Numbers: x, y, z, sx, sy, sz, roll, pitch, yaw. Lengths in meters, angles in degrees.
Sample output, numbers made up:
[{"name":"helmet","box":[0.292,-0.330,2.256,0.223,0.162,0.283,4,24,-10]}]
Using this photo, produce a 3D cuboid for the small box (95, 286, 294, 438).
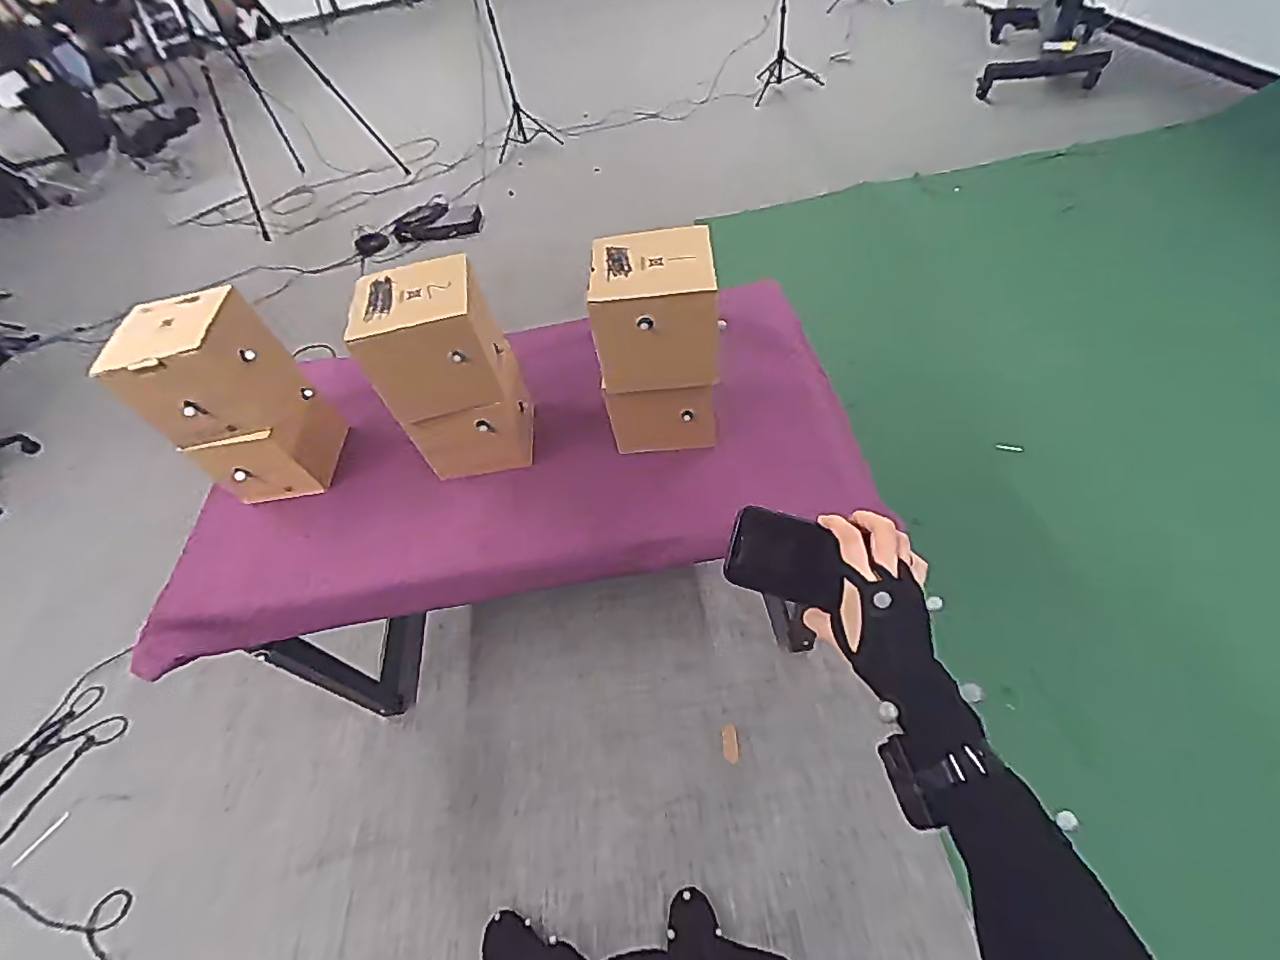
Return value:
[{"name":"small box","box":[-0.715,-0.186,0.895,0.168,0.176,0.179,-12,53,0]}]

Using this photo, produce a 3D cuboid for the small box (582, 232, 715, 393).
[{"name":"small box","box":[0.021,-0.247,0.821,0.179,0.176,0.168,-3,52,6]}]

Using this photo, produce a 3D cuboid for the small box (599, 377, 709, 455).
[{"name":"small box","box":[0.033,-0.159,0.960,0.179,0.176,0.168,-4,52,8]}]

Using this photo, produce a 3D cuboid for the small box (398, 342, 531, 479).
[{"name":"small box","box":[-0.305,-0.122,0.985,0.179,0.176,0.168,-9,52,3]}]

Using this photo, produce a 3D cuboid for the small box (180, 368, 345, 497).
[{"name":"small box","box":[-0.692,-0.081,1.020,0.168,0.176,0.179,-8,52,3]}]
